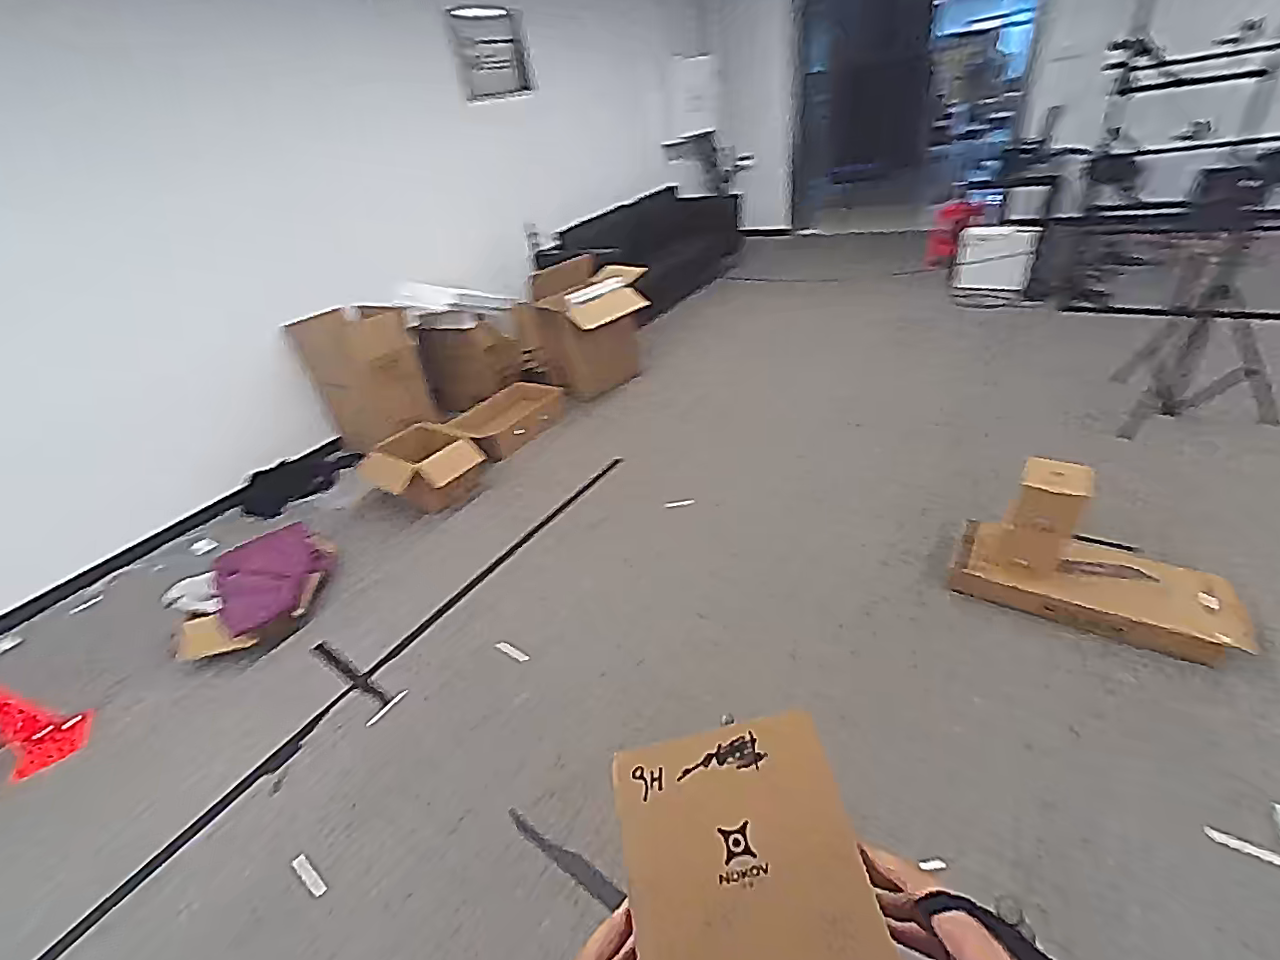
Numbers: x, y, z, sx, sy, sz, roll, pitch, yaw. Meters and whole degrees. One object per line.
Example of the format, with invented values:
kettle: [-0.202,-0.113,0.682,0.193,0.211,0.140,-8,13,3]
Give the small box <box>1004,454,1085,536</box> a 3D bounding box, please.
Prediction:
small box: [1.273,0.047,1.706,0.168,0.176,0.179,16,42,33]

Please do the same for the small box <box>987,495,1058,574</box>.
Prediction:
small box: [1.278,0.181,1.804,0.168,0.176,0.179,15,42,32]
